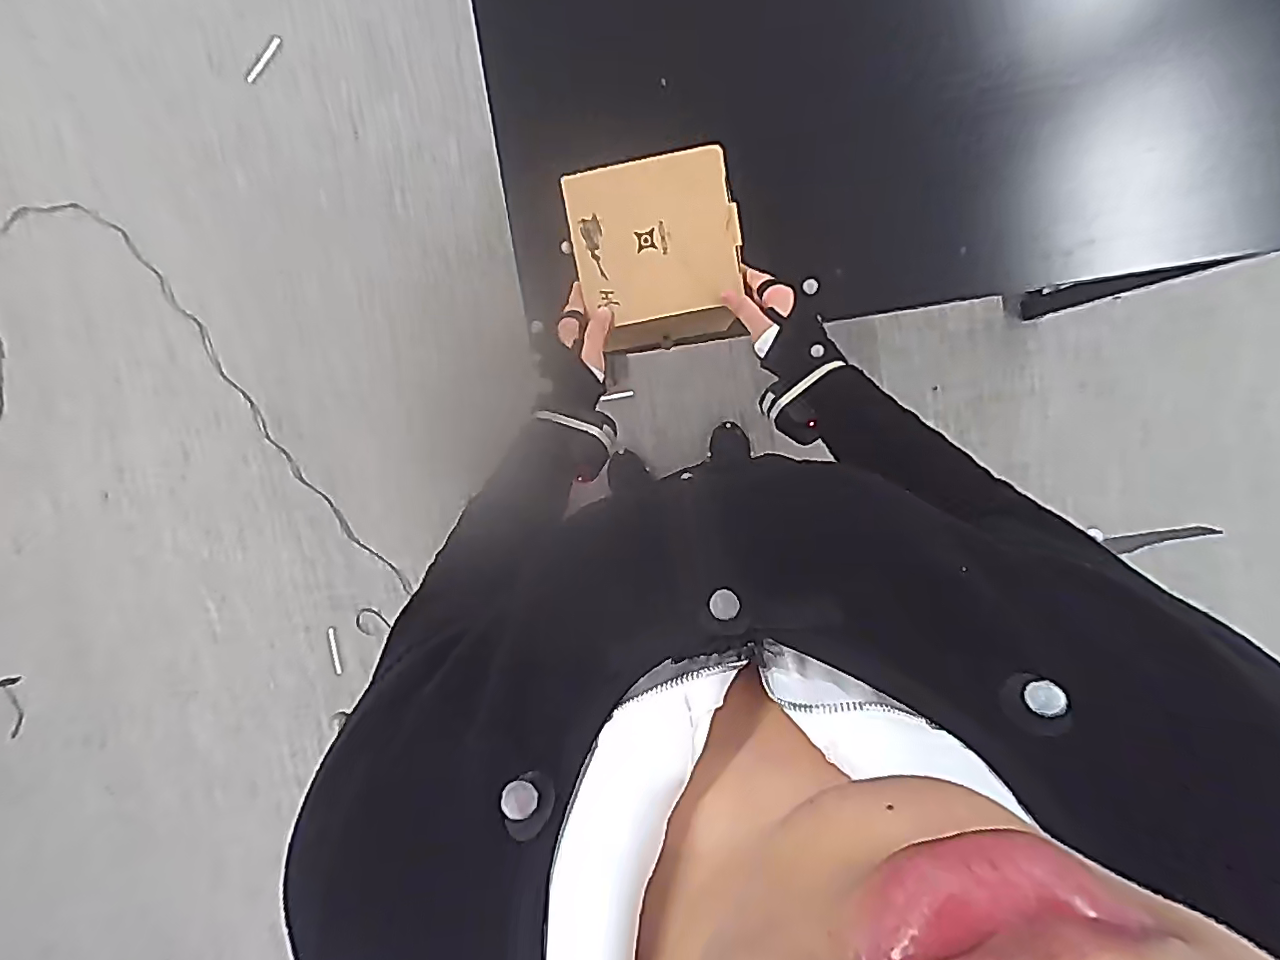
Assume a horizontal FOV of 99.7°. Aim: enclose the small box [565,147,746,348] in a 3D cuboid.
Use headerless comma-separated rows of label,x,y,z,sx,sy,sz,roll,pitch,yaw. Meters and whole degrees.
small box,0.017,-0.266,0.658,0.179,0.176,0.168,-10,95,1
